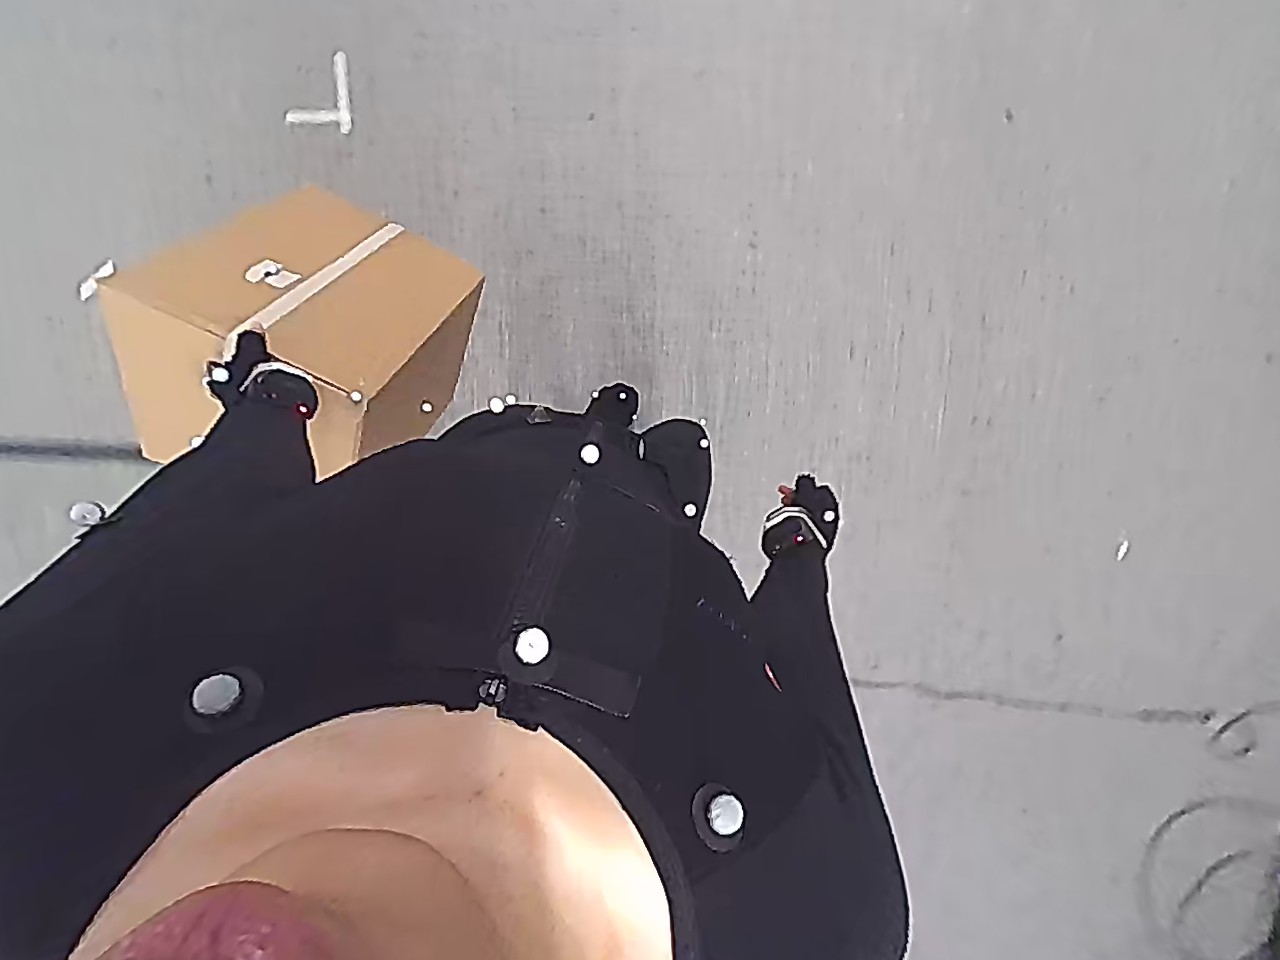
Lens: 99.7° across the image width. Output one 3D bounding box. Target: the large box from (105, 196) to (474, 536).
[{"bbox_3d":[-0.518,-0.189,0.891,0.320,0.408,0.320,23,134,-10],"label":"large box"}]
